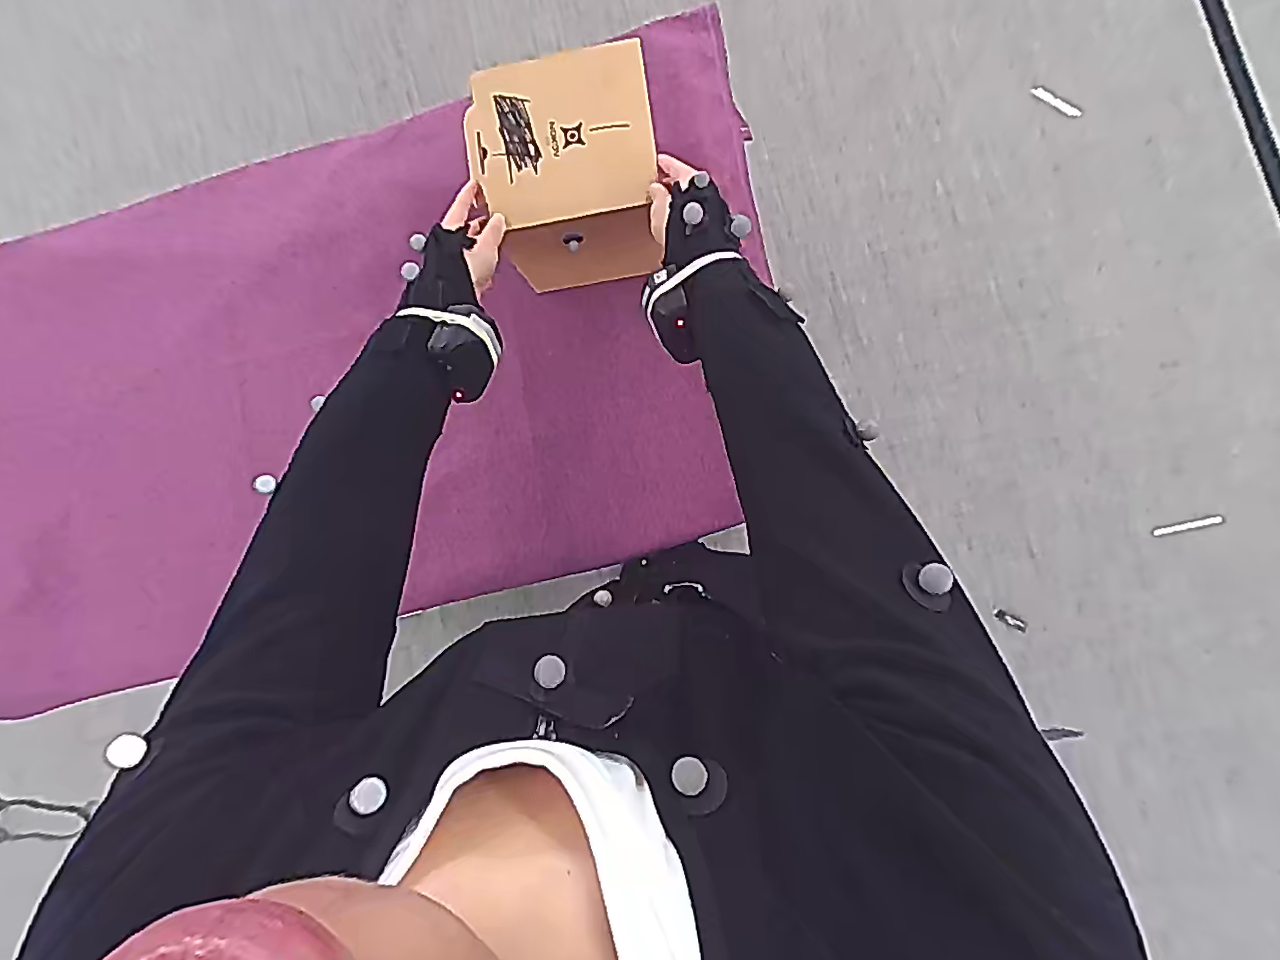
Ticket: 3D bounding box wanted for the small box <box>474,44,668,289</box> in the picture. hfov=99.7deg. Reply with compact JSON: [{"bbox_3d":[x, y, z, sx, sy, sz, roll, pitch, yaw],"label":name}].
[{"bbox_3d":[-0.066,-0.335,0.615,0.179,0.176,0.168,-8,89,4],"label":"small box"}]
